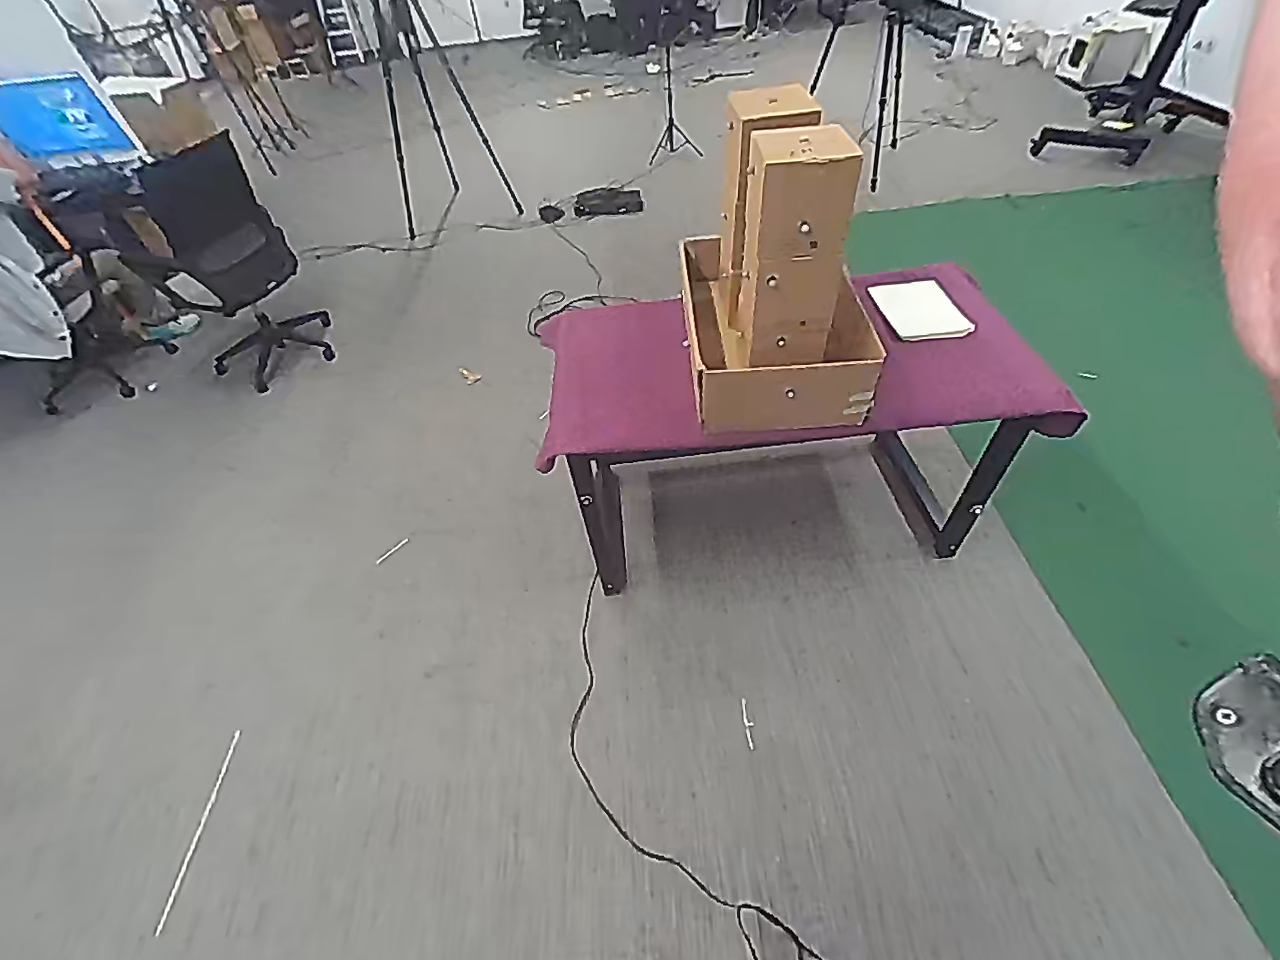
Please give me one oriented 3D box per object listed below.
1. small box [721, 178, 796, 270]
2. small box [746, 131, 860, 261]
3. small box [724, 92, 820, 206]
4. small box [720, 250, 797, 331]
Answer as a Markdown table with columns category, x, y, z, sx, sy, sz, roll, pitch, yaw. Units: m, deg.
| category | x | y | z | sx | sy | sz | roll | pitch | yaw |
| --- | --- | --- | --- | --- | --- | --- | --- | --- | --- |
| small box | 0.296 | -0.635 | 1.336 | 0.168 | 0.176 | 0.179 | -6 | 49 | 1 |
| small box | 0.297 | -0.537 | 1.027 | 0.168 | 0.176 | 0.179 | -3 | 48 | 4 |
| small box | 0.285 | -0.739 | 1.212 | 0.168 | 0.176 | 0.179 | -6 | 51 | 1 |
| small box | 0.309 | -0.523 | 1.456 | 0.168 | 0.176 | 0.179 | -5 | 50 | 1 |
